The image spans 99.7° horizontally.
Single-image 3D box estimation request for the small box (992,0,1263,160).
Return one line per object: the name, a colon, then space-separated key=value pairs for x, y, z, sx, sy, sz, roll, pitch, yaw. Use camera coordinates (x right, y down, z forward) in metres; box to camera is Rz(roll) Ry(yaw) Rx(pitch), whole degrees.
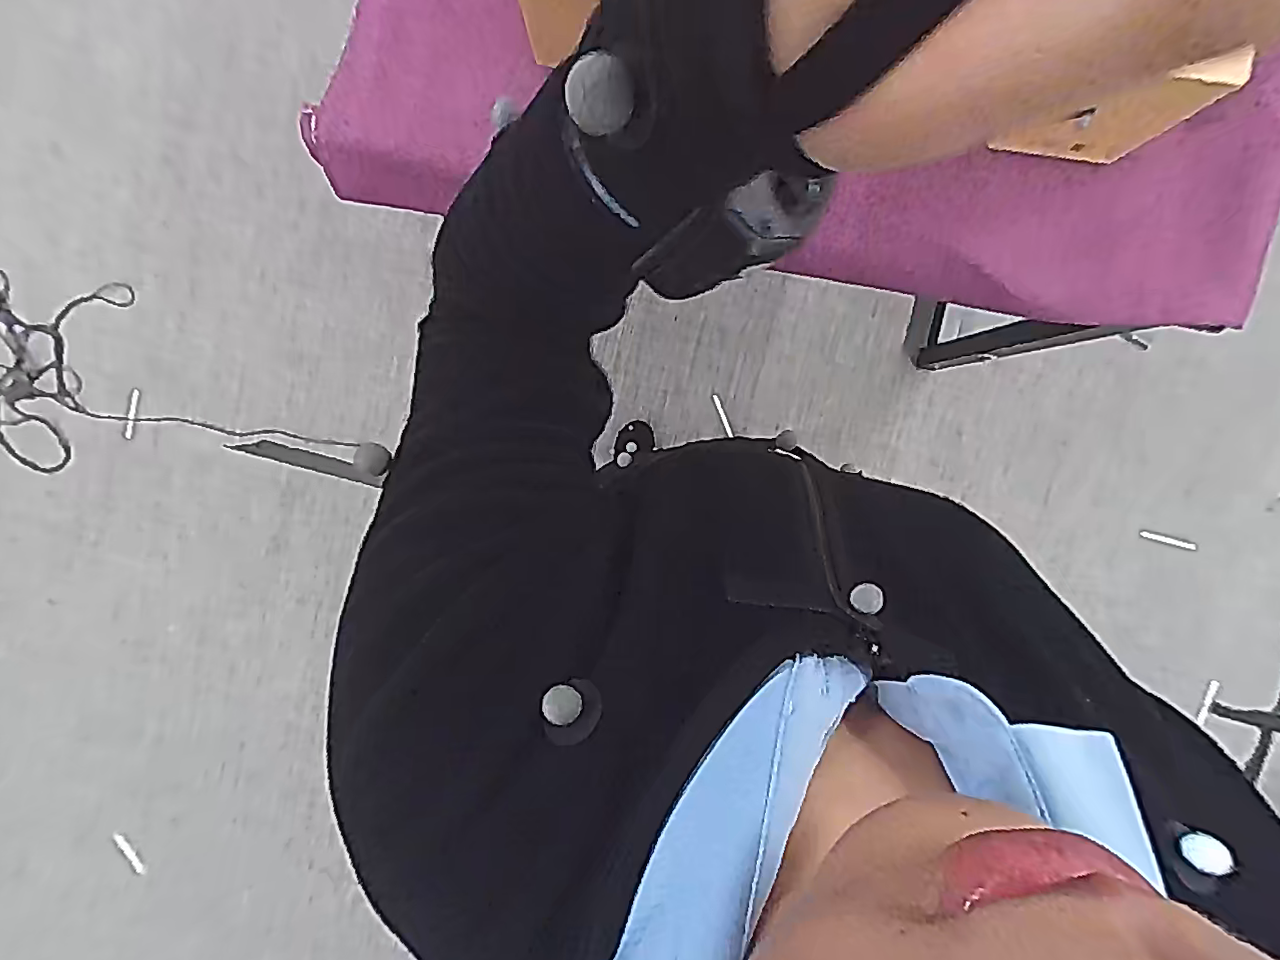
small box: x=0.547 y=-0.505 z=0.624 sx=0.168 sy=0.176 sz=0.179 roll=9 pitch=94 yaw=1
